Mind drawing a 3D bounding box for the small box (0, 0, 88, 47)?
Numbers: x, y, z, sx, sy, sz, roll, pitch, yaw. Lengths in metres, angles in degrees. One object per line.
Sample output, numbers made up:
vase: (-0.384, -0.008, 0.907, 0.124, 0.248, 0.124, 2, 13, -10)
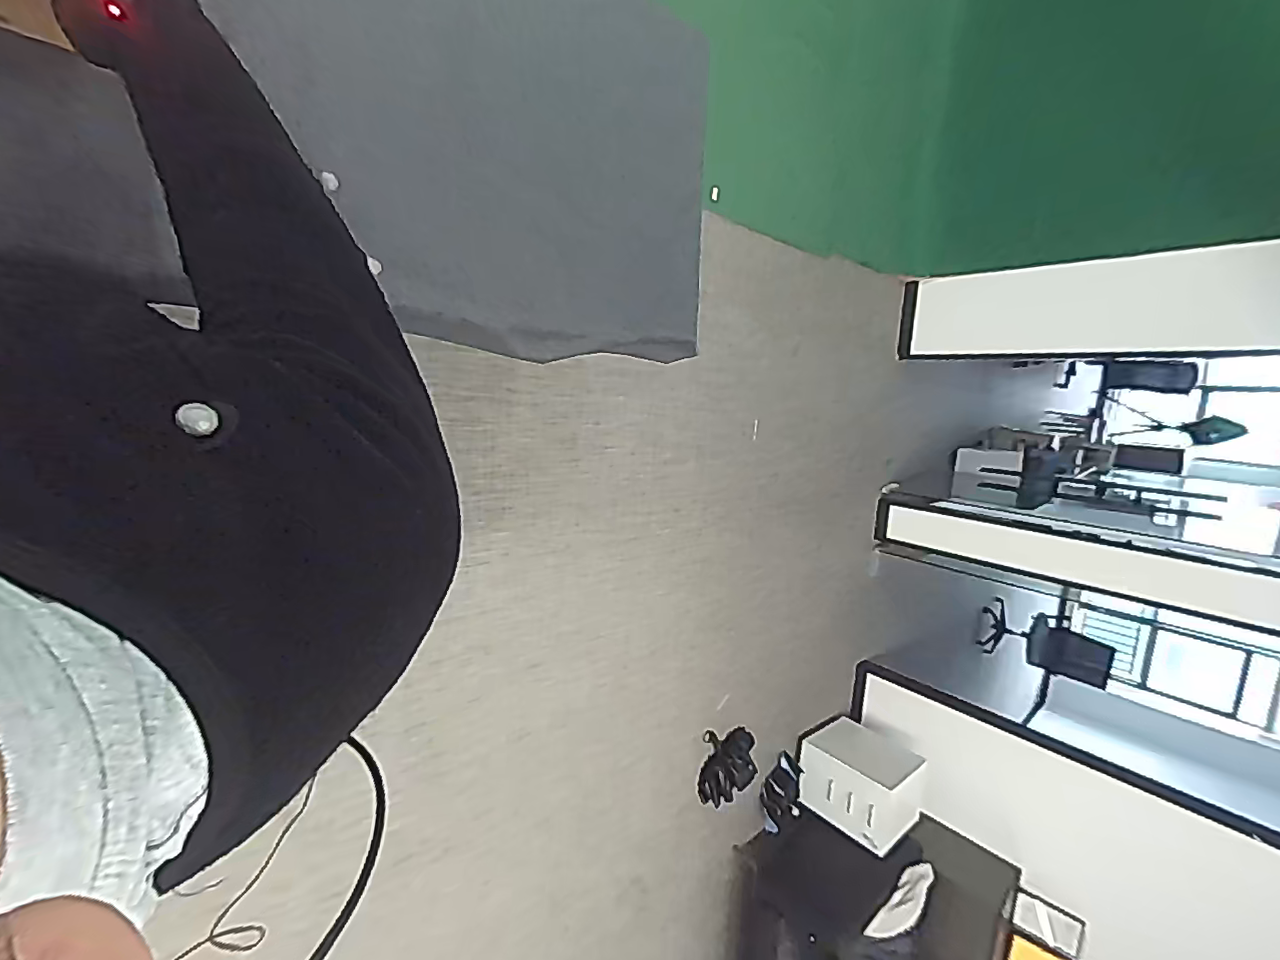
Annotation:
small box: (-0.576, -0.508, 0.439, 0.168, 0.176, 0.179, -5, 102, -43)
